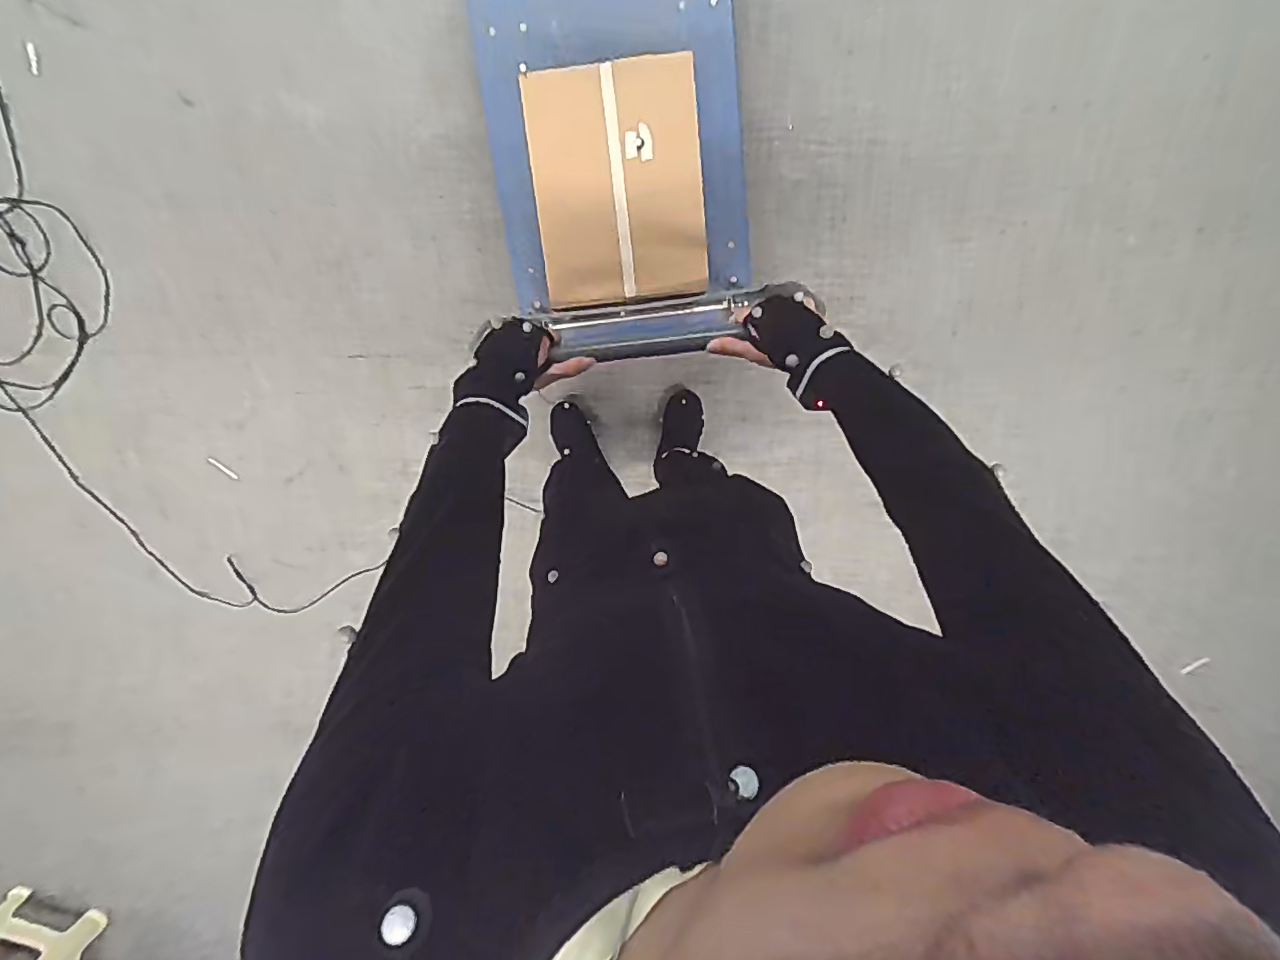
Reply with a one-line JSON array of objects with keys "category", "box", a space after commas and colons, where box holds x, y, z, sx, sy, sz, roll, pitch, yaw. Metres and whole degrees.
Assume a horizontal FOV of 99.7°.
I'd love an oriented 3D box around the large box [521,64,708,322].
[{"category": "large box", "box": [-0.041, -0.573, 1.166, 0.320, 0.320, 0.408, -6, 103, 1]}]
